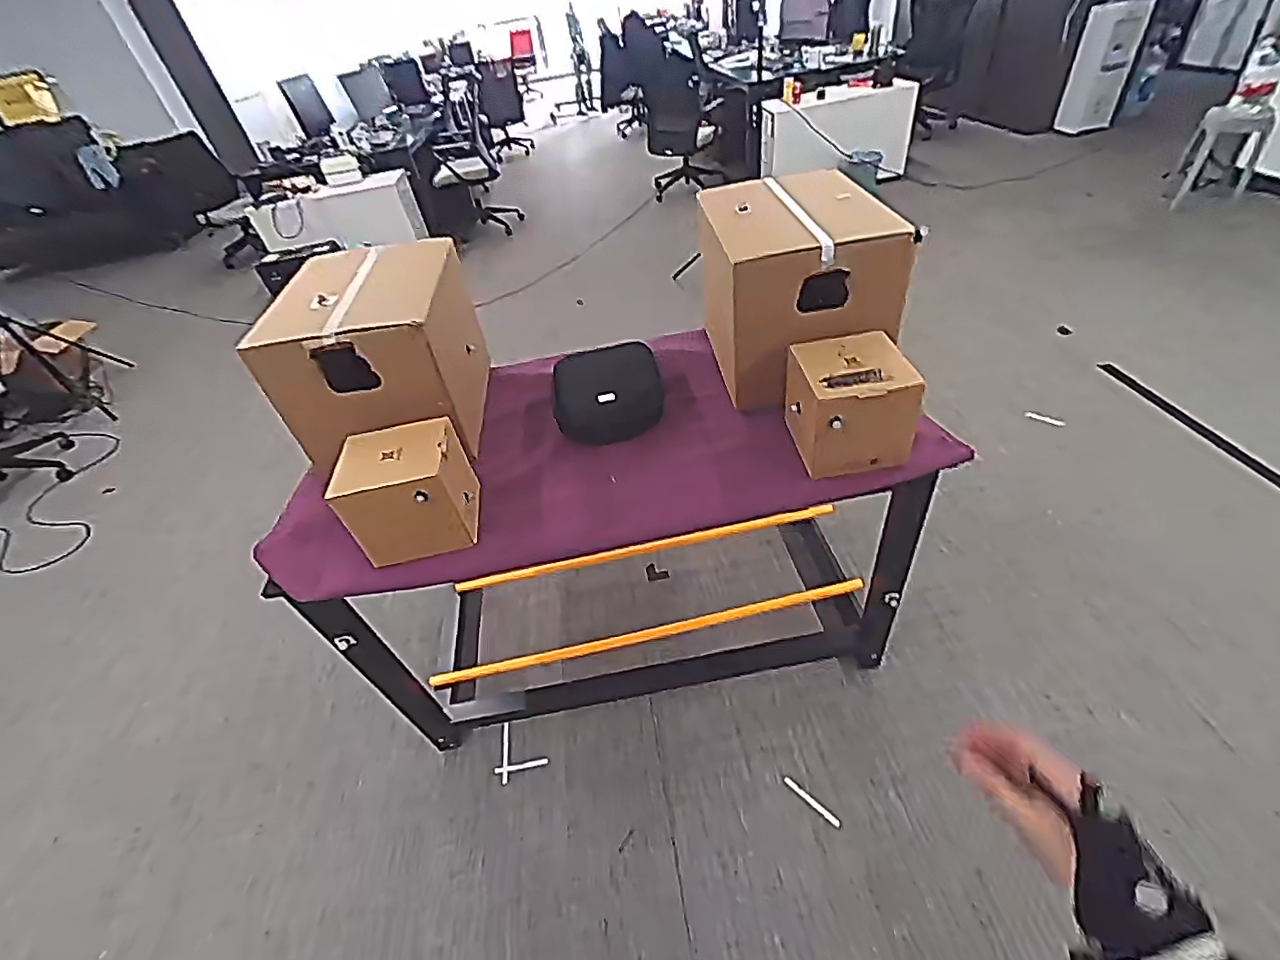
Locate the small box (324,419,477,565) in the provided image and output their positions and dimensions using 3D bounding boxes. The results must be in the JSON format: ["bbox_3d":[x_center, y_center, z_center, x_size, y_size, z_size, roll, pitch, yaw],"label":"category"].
[{"bbox_3d":[-0.397,0.023,0.929,0.179,0.176,0.168,-13,41,-4],"label":"small box"}]

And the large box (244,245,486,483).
[{"bbox_3d":[-0.524,-0.249,1.142,0.320,0.320,0.408,-10,45,-2],"label":"large box"}]
